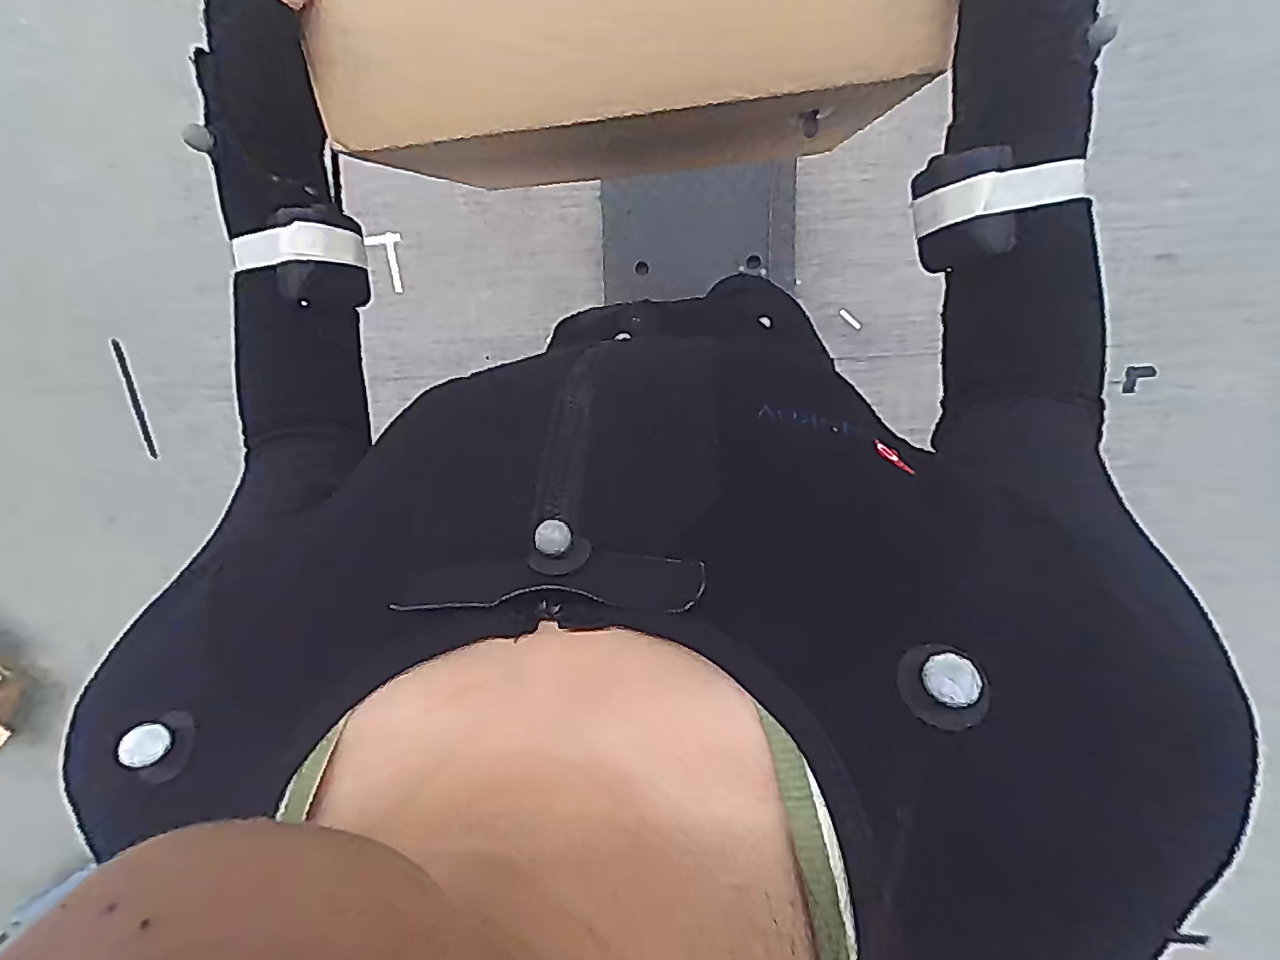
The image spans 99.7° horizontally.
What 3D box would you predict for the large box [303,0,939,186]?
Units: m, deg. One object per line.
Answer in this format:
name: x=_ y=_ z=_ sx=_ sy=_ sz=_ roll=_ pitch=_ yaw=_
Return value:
large box: x=-0.015 y=-0.443 z=0.437 sx=0.408 sy=0.320 sz=0.320 roll=-3 pitch=113 yaw=6
